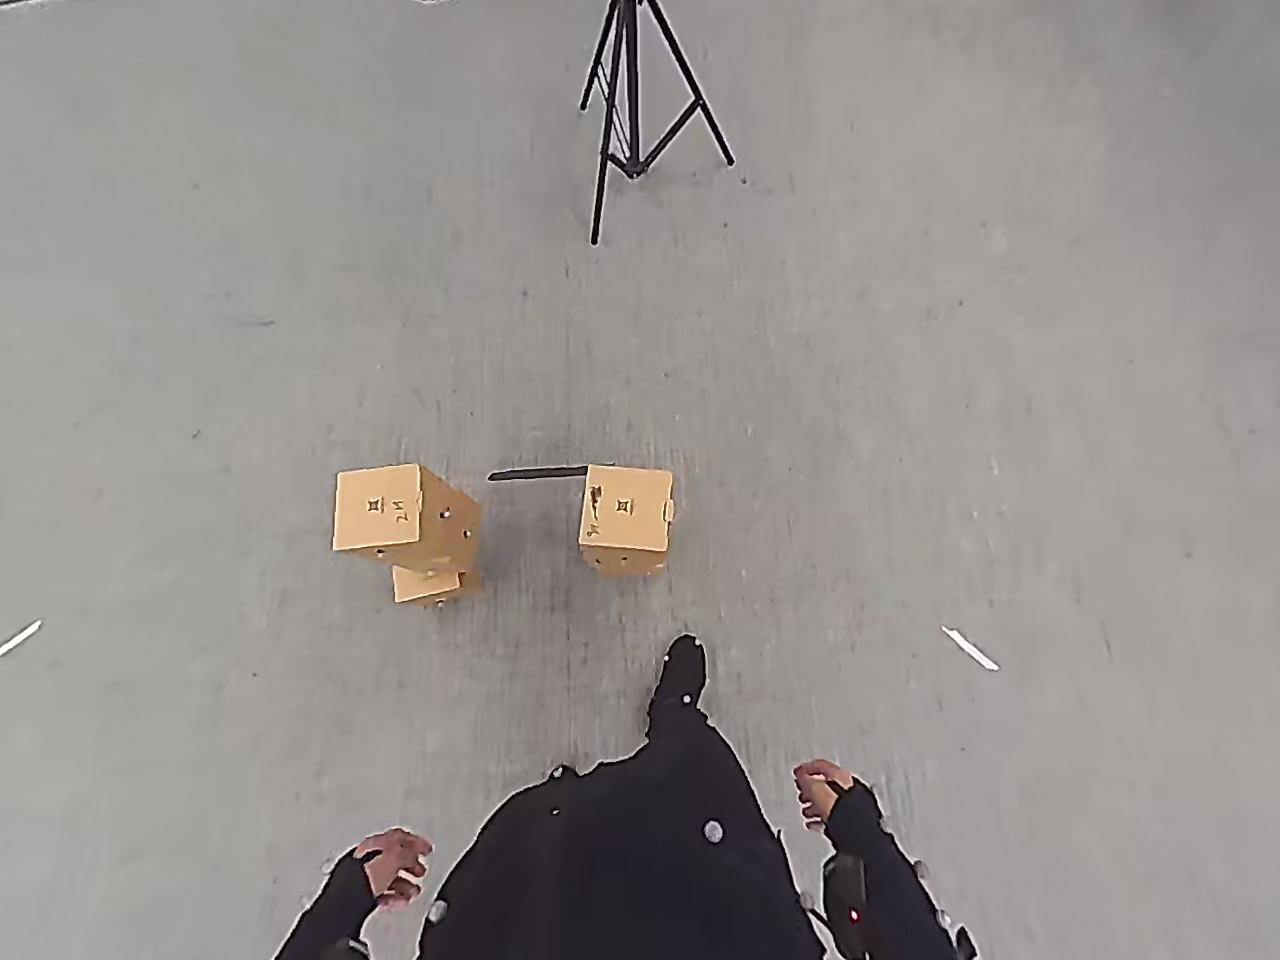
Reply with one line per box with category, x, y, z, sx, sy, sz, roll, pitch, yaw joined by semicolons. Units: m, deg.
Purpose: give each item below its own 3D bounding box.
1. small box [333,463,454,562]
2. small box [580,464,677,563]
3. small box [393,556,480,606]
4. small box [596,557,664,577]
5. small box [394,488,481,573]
small box;-0.515;0.075;1.151;0.179;0.176;0.168;-6;72;0
small box;-0.023;0.077;1.138;0.179;0.176;0.168;6;73;1
small box;-0.542;0.229;1.447;0.168;0.176;0.179;-13;74;-2
small box;-0.024;0.168;1.454;0.179;0.176;0.168;-2;73;0
small box;-0.495;0.123;1.307;0.168;0.176;0.179;1;73;3
